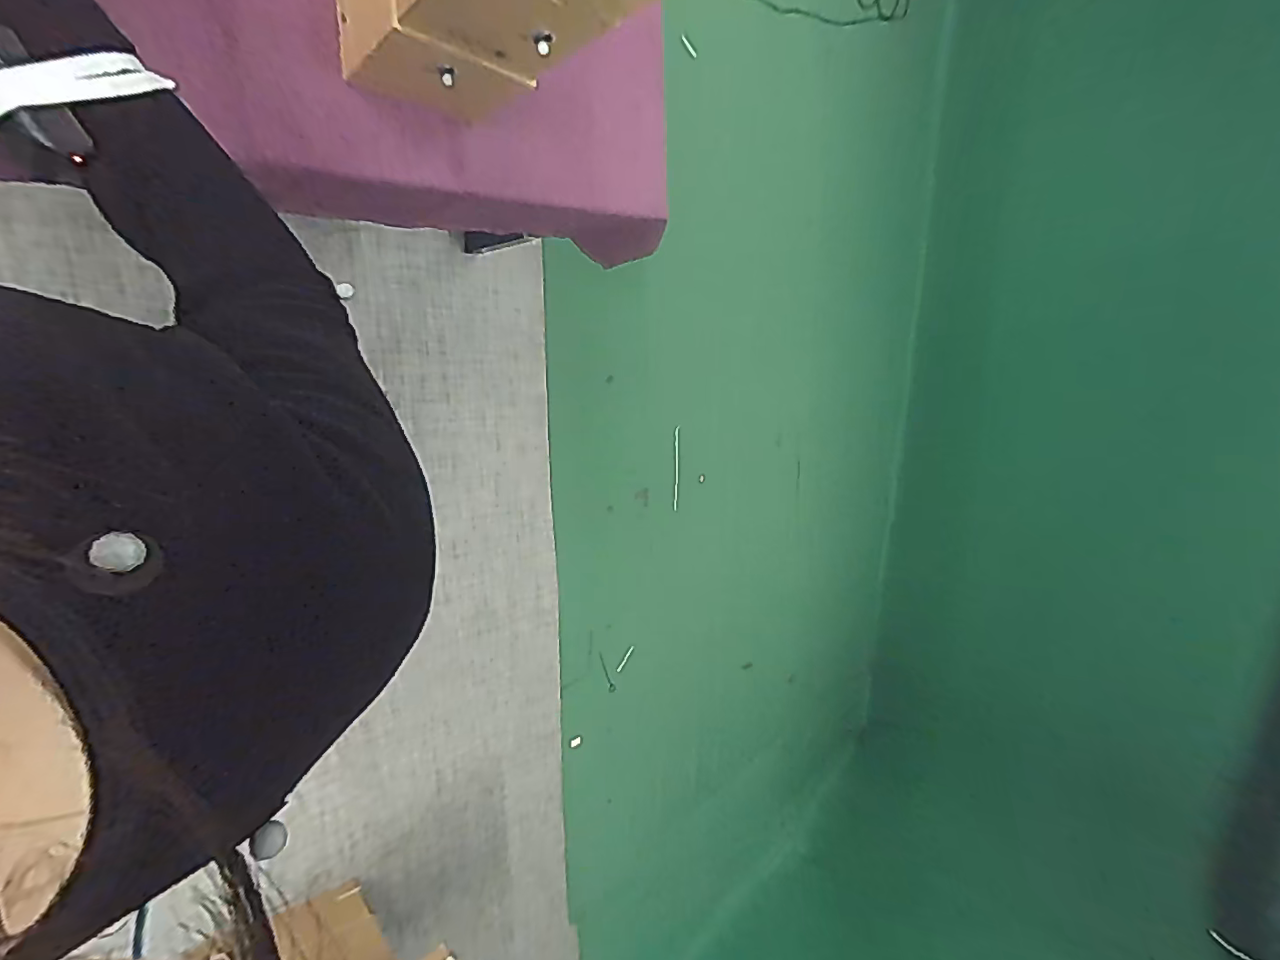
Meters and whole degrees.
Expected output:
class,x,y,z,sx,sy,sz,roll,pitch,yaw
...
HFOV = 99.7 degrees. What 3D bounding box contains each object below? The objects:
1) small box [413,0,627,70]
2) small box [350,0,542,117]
class,x,y,z,sx,sy,sz,roll,pitch,yaw
small box,-0.125,-0.548,0.527,0.168,0.176,0.179,-10,106,-43
small box,-0.236,-0.568,0.645,0.179,0.176,0.168,-9,107,-42
